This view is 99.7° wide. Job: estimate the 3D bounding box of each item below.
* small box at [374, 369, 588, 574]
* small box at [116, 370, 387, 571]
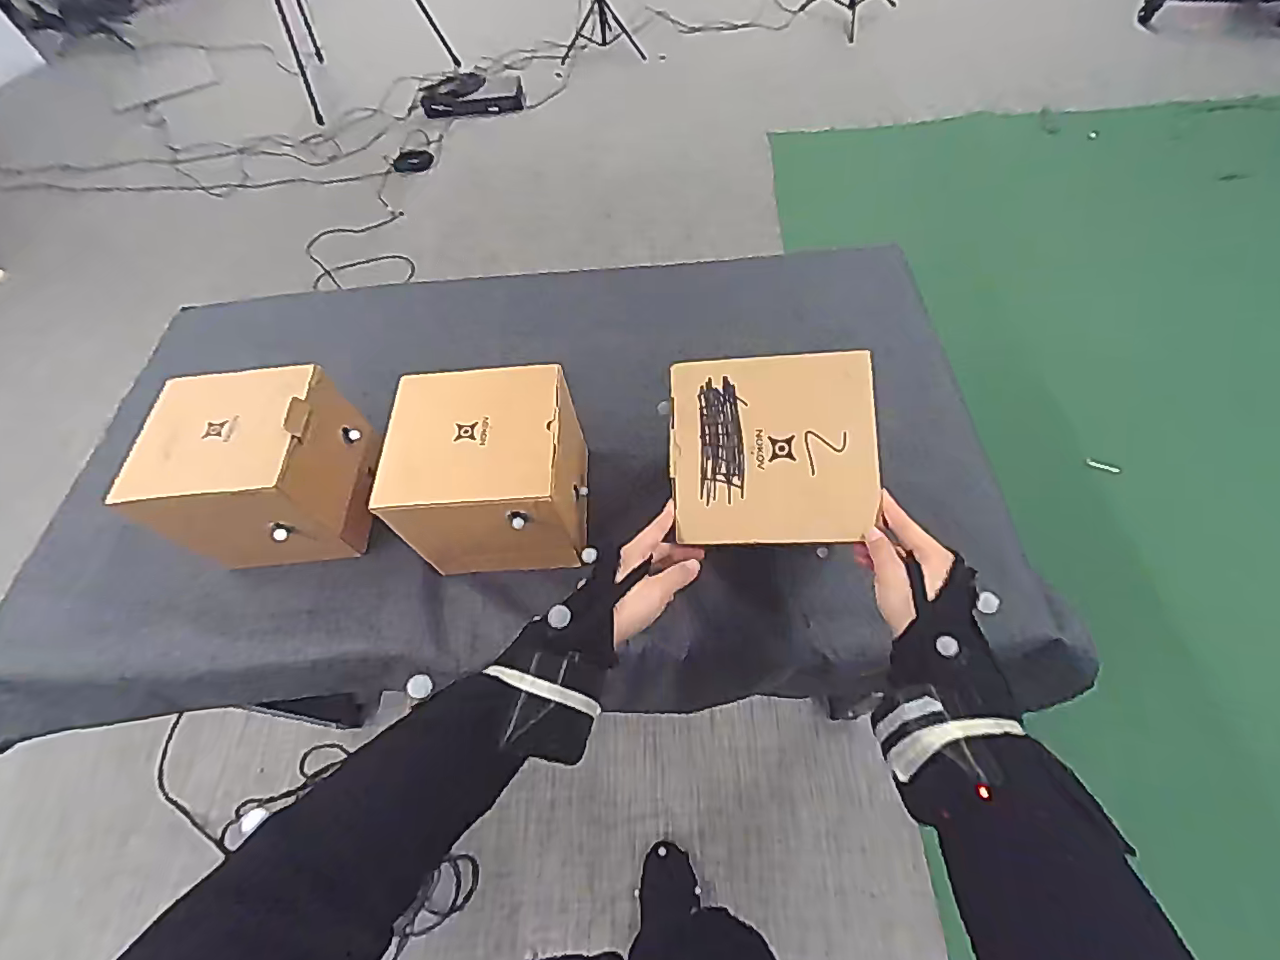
[{"bbox_3d":[-0.160,-0.002,0.611,0.179,0.176,0.168,-4,58,2],"label":"small box"},{"bbox_3d":[-0.429,-0.005,0.639,0.179,0.176,0.168,-7,57,3],"label":"small box"}]
